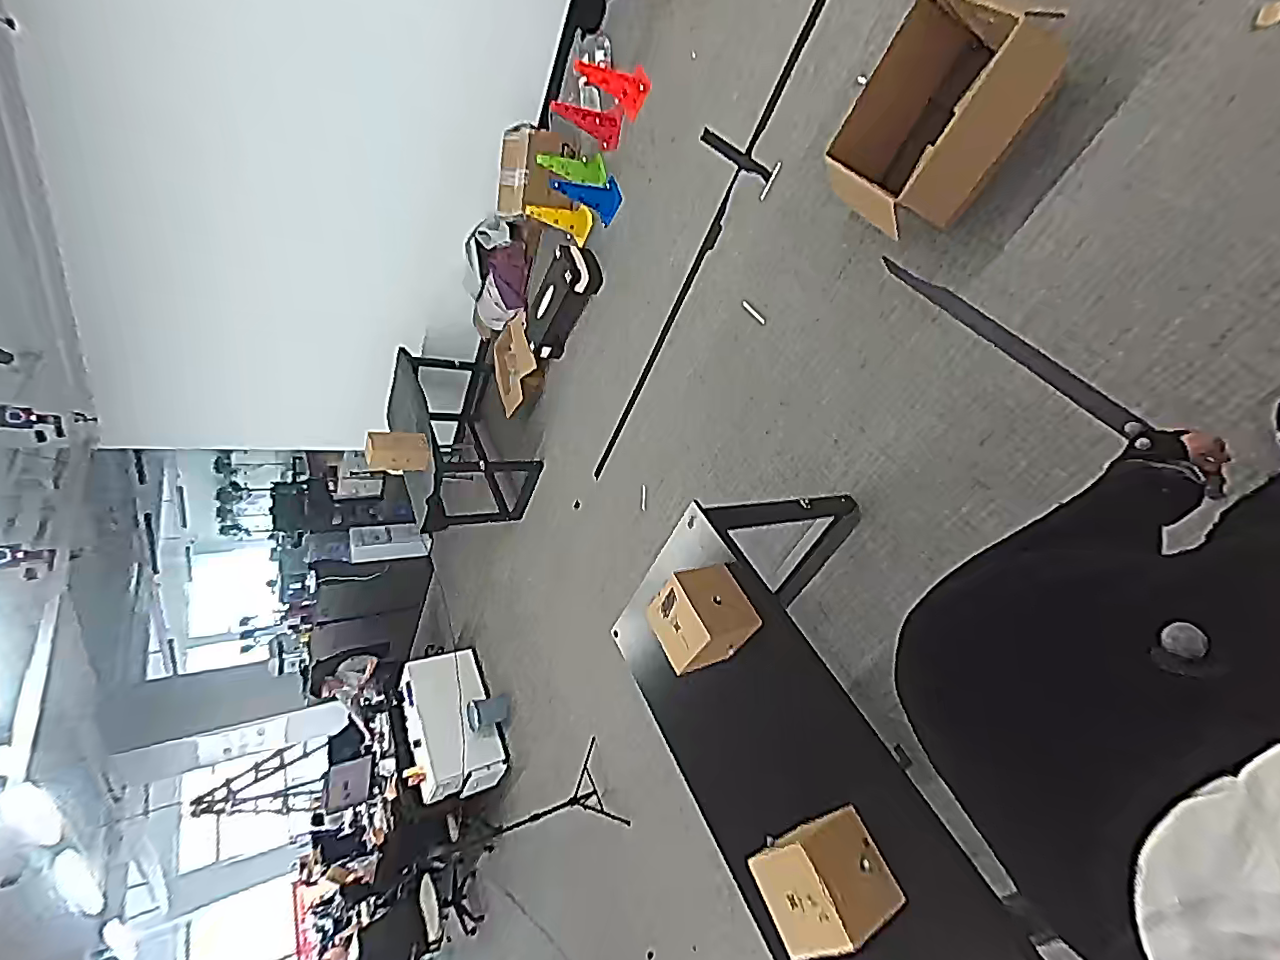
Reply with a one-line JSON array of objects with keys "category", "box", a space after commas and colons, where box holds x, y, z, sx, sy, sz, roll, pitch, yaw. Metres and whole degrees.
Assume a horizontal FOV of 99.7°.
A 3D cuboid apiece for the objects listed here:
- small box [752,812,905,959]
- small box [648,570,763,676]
[{"category": "small box", "box": [0.354, 0.765, 1.022, 0.179, 0.176, 0.168, -56, 49, 38]}, {"category": "small box", "box": [0.153, 0.329, 1.276, 0.179, 0.176, 0.168, 58, 135, 33]}]
